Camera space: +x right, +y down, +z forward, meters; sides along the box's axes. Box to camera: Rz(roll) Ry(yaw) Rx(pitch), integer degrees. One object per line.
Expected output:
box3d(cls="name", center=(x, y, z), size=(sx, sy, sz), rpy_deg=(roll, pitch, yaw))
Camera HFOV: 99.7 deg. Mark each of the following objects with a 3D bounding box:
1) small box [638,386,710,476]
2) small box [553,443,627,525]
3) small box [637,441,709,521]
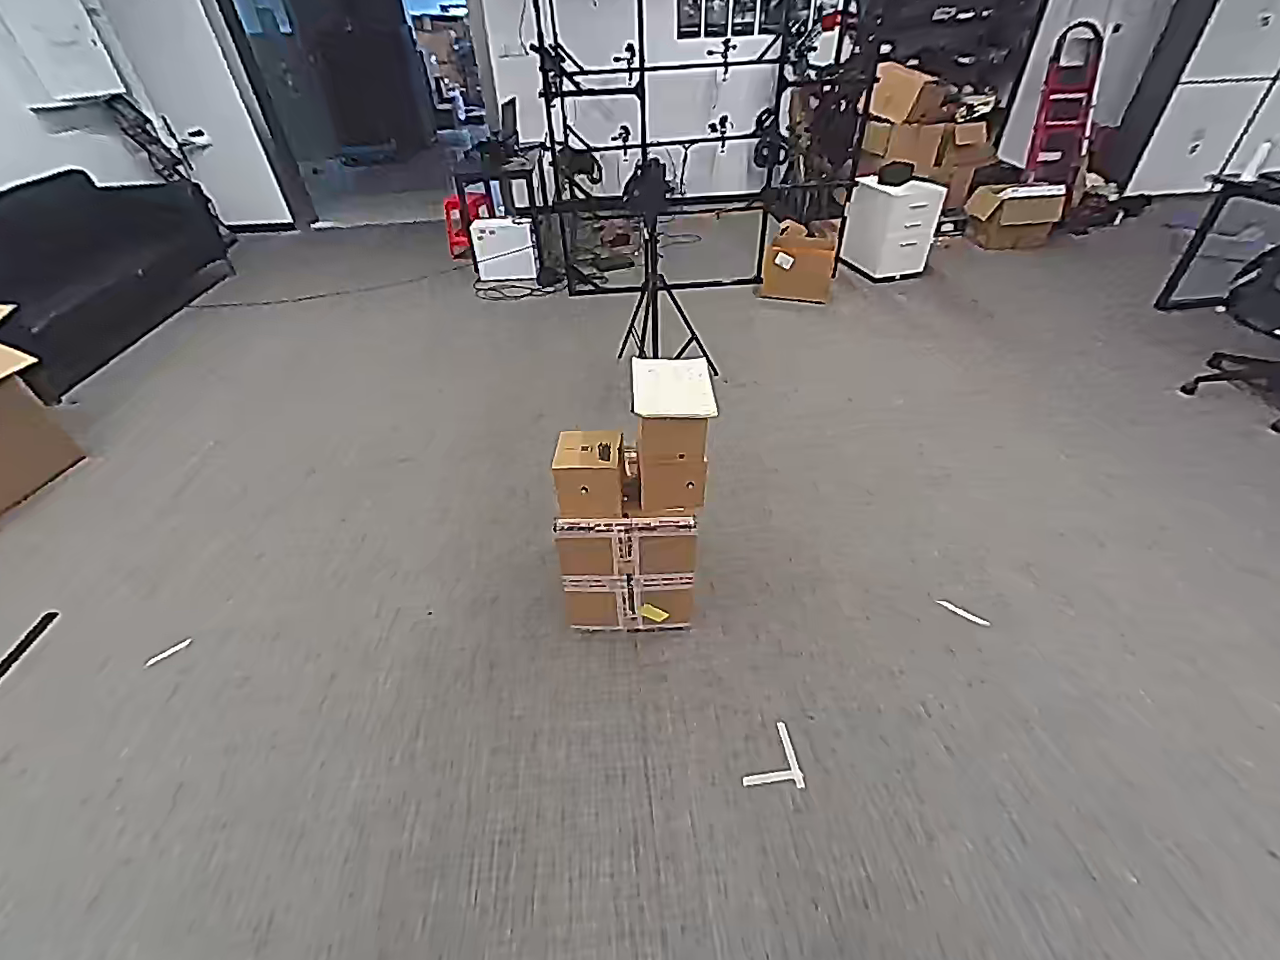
box3d(cls="small box", center=(0.081, -0.129, 1.409), size=(0.168, 0.176, 0.179), rpy_deg=(-2, 40, -3))
box3d(cls="small box", center=(-0.131, 0.013, 1.503), size=(0.179, 0.176, 0.168), rpy_deg=(-1, 42, 5))
box3d(cls="small box", center=(0.085, -0.001, 1.509), size=(0.179, 0.176, 0.168), rpy_deg=(-4, 41, -4))
